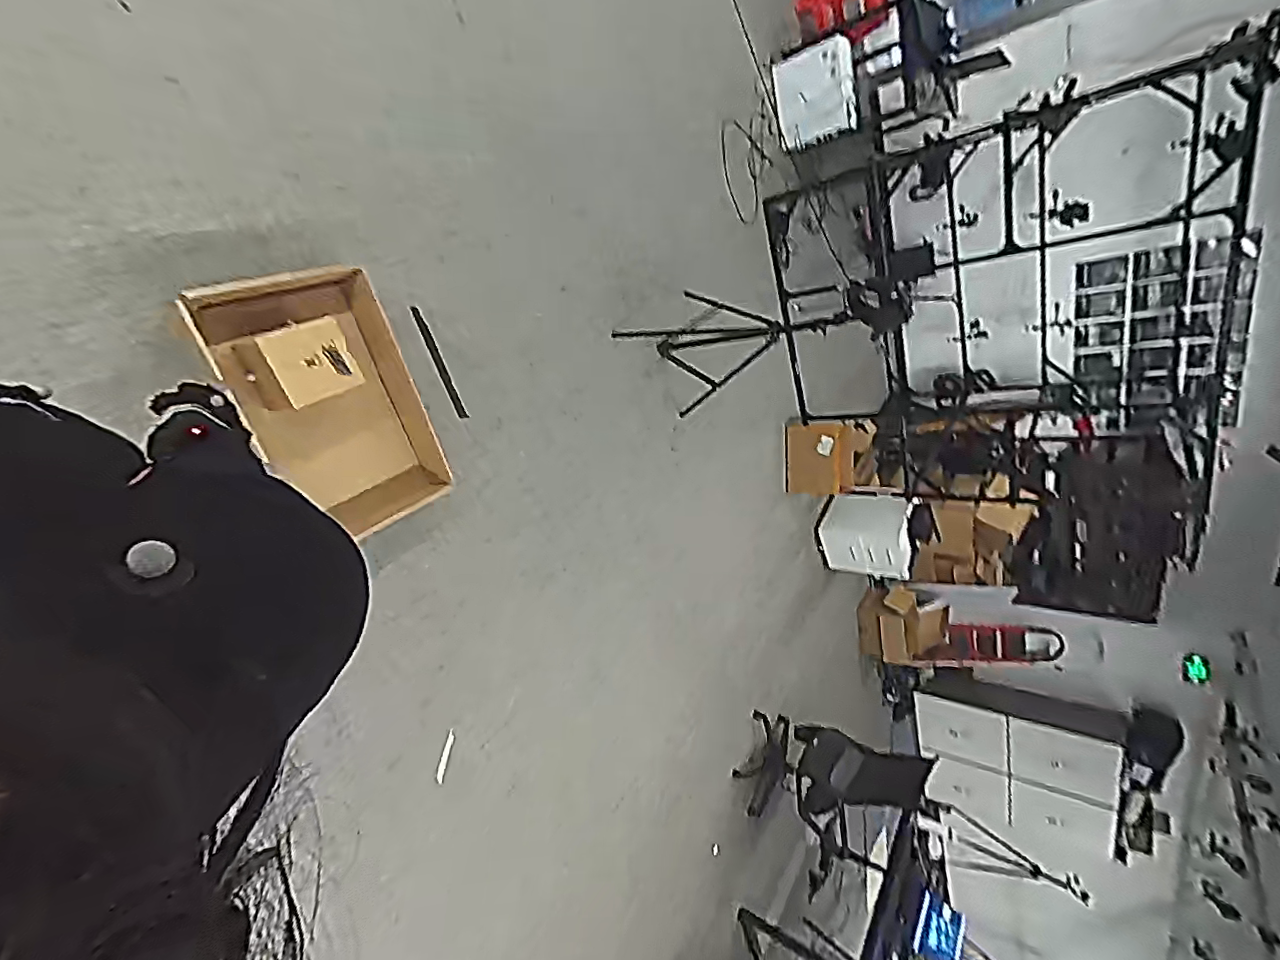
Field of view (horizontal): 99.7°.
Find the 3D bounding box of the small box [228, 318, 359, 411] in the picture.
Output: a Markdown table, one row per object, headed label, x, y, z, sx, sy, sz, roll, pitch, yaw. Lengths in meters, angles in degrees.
| label | x | y | z | sx | sy | sz | roll | pitch | yaw |
| --- | --- | --- | --- | --- | --- | --- | --- | --- | --- |
| small box | -0.810 | -0.268 | 1.265 | 0.179 | 0.176 | 0.168 | -39 | 122 | -42 |
